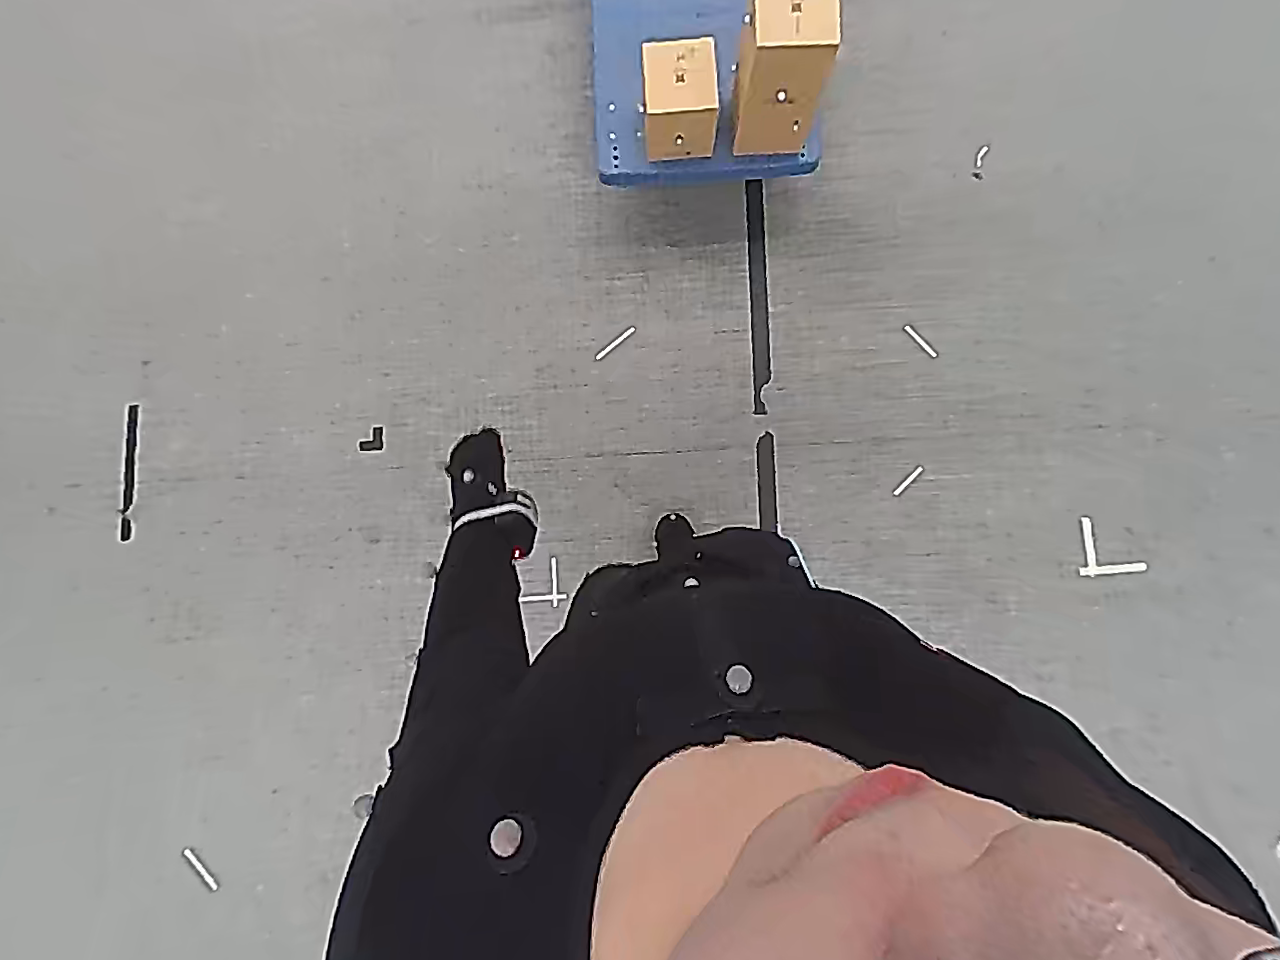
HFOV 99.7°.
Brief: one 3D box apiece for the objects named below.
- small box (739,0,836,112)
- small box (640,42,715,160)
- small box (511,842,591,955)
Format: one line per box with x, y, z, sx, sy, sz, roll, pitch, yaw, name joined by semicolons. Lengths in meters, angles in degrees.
0.304;-0.923;1.145;0.168;0.176;0.179;-1;86;2;small box
0.089;-0.909;1.315;0.168;0.176;0.179;-4;85;1;small box
-0.219;1.057;1.376;0.179;0.176;0.168;0;86;3;small box
